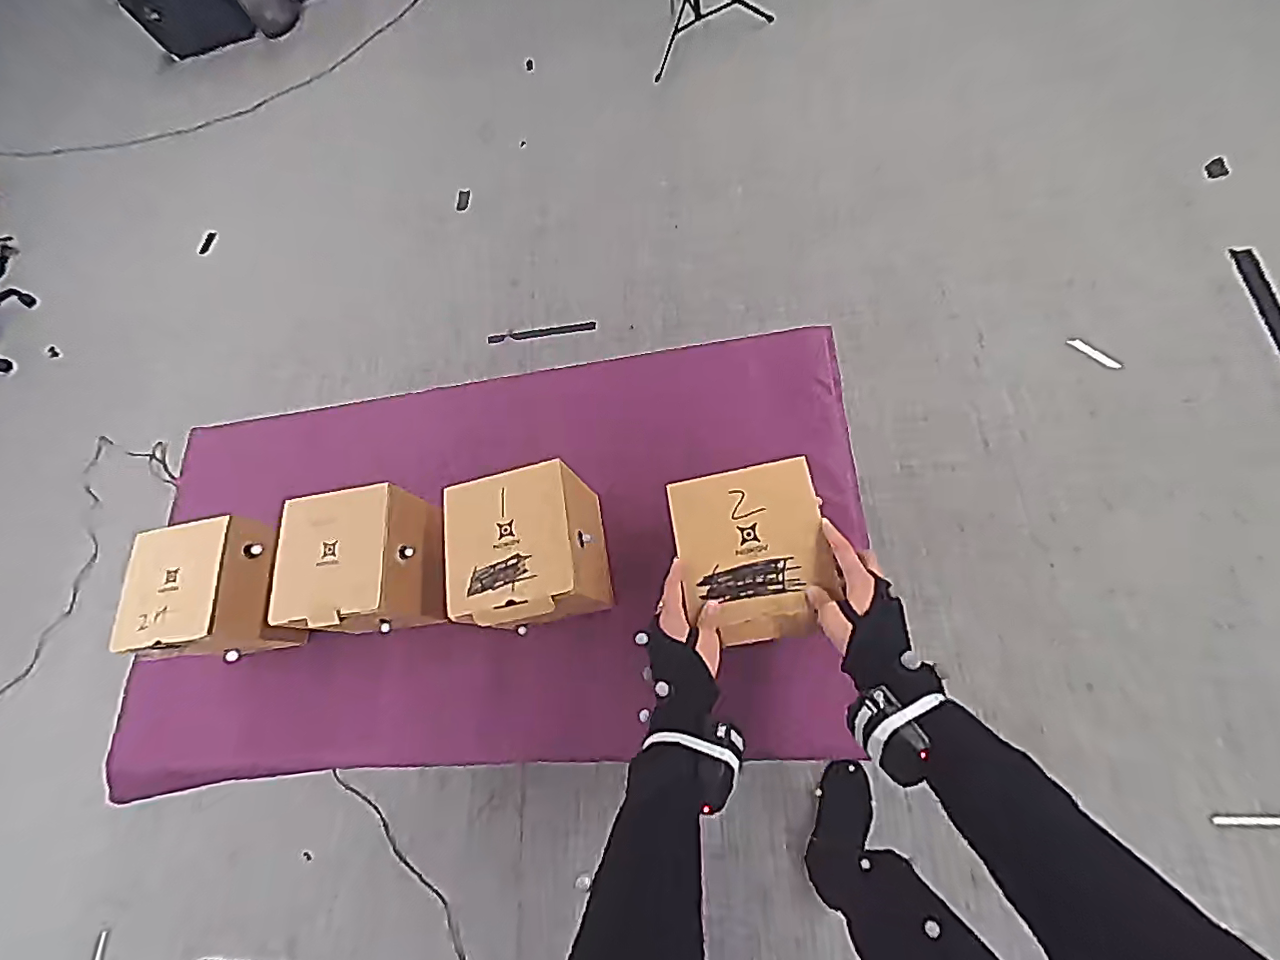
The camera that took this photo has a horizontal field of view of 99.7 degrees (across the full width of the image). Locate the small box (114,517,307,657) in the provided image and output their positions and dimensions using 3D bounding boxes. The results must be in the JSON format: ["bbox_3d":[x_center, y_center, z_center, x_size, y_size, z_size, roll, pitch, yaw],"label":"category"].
[{"bbox_3d":[-0.638,0.173,0.836,0.168,0.176,0.179,-11,69,10],"label":"small box"}]

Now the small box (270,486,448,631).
[{"bbox_3d":[-0.396,0.125,0.797,0.168,0.176,0.179,-9,69,10],"label":"small box"}]

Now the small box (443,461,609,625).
[{"bbox_3d":[-0.149,0.098,0.745,0.168,0.176,0.179,-14,68,8],"label":"small box"}]
